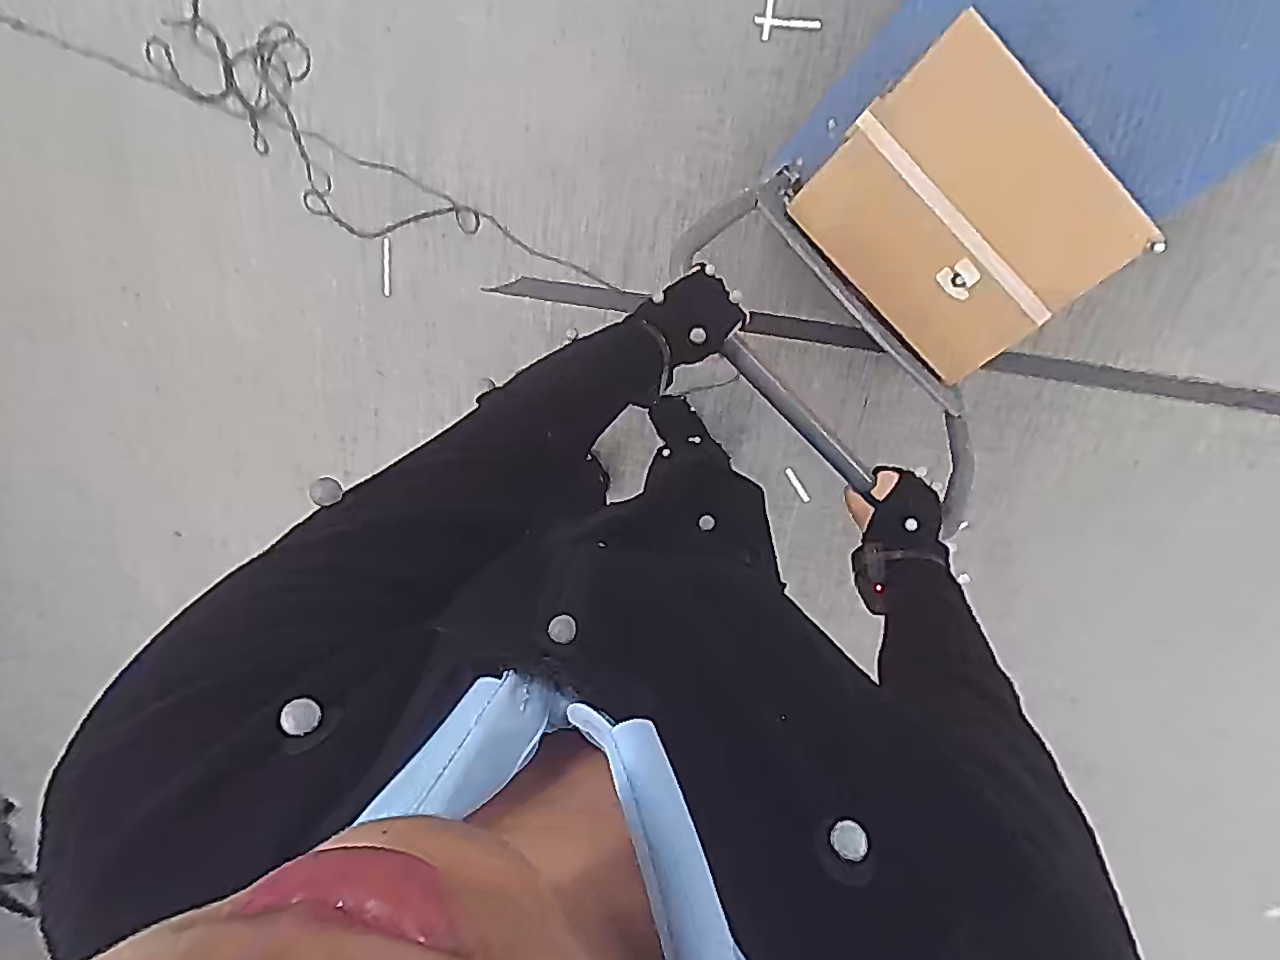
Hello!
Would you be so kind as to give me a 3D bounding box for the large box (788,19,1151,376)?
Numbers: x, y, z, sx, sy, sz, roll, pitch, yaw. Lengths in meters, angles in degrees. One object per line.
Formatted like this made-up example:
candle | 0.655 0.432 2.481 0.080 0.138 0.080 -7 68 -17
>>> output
large box | 0.518 -0.463 0.930 0.408 0.320 0.320 43 127 -7
